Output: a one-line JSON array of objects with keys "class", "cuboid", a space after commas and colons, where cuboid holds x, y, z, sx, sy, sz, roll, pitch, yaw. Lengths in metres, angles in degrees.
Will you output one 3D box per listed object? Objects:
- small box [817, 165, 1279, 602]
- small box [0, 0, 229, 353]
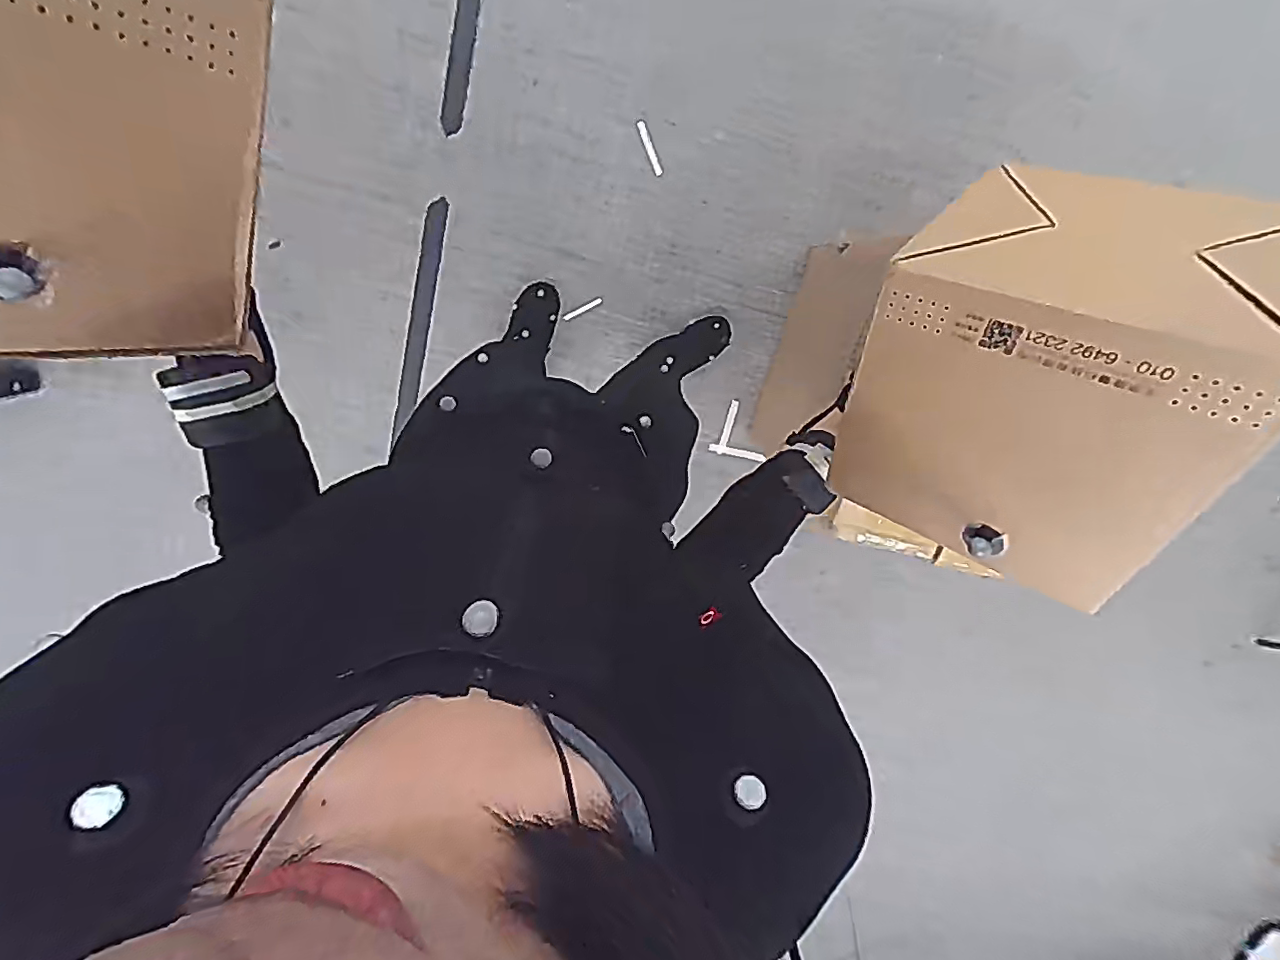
[{"class": "small box", "cuboid": [0.233, -0.070, 0.320, 0.179, 0.168, 0.176, -42, 146, -29]}, {"class": "small box", "cuboid": [-0.288, -0.167, 0.206, 0.168, 0.179, 0.176, 44, 124, 21]}]
